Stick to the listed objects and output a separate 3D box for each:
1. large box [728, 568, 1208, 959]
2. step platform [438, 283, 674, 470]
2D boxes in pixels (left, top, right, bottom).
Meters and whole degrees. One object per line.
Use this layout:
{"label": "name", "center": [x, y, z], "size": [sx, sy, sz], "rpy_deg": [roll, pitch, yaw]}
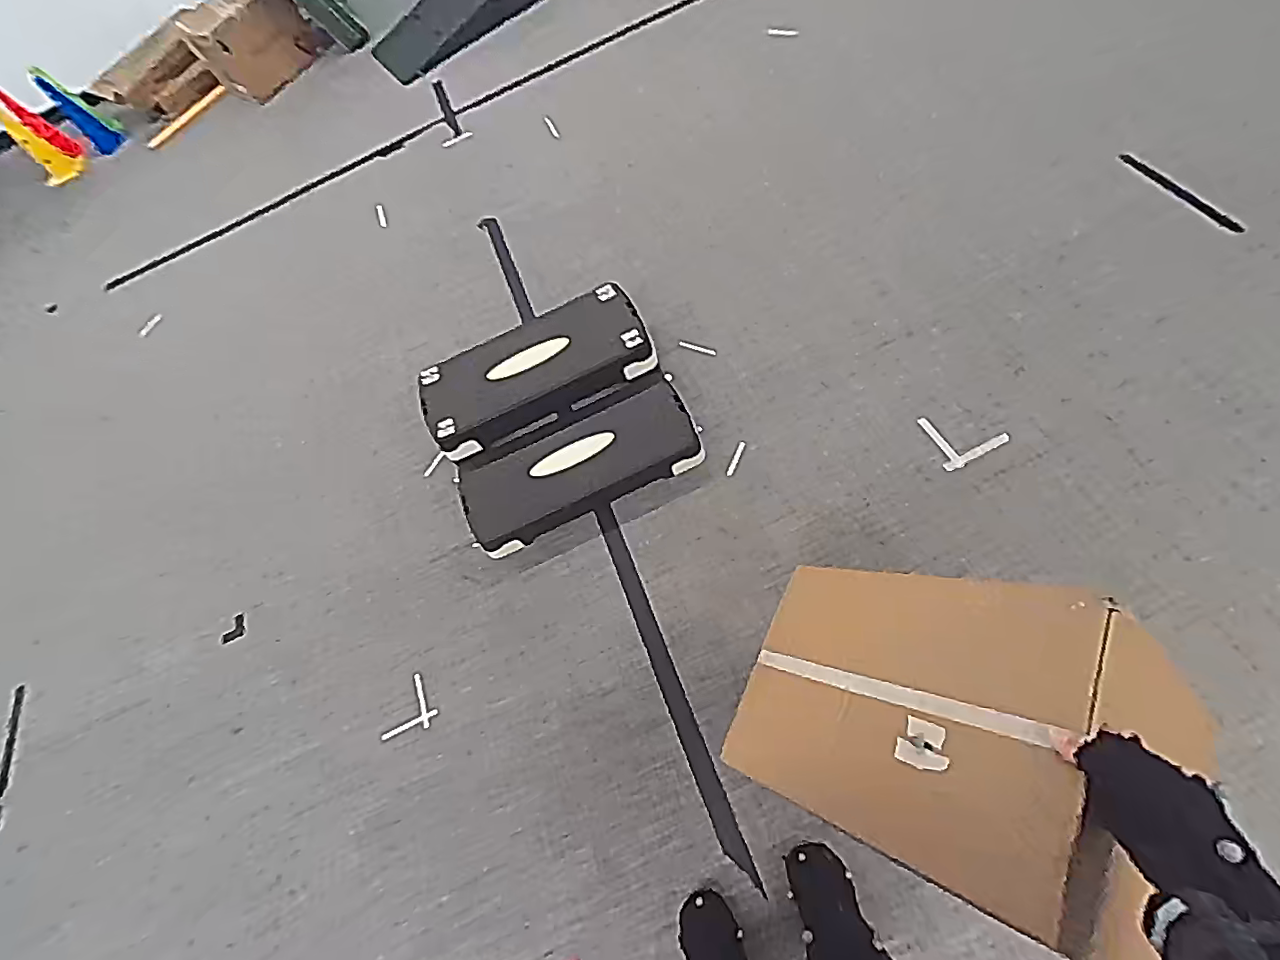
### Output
{"label": "large box", "center": [0.398, 0.330, 0.695], "size": [0.408, 0.320, 0.320], "rpy_deg": [-8, 50, 57]}
{"label": "step platform", "center": [-0.253, -0.309, 1.611], "size": [0.684, 0.204, 0.286], "rpy_deg": [-26, 62, 0]}
